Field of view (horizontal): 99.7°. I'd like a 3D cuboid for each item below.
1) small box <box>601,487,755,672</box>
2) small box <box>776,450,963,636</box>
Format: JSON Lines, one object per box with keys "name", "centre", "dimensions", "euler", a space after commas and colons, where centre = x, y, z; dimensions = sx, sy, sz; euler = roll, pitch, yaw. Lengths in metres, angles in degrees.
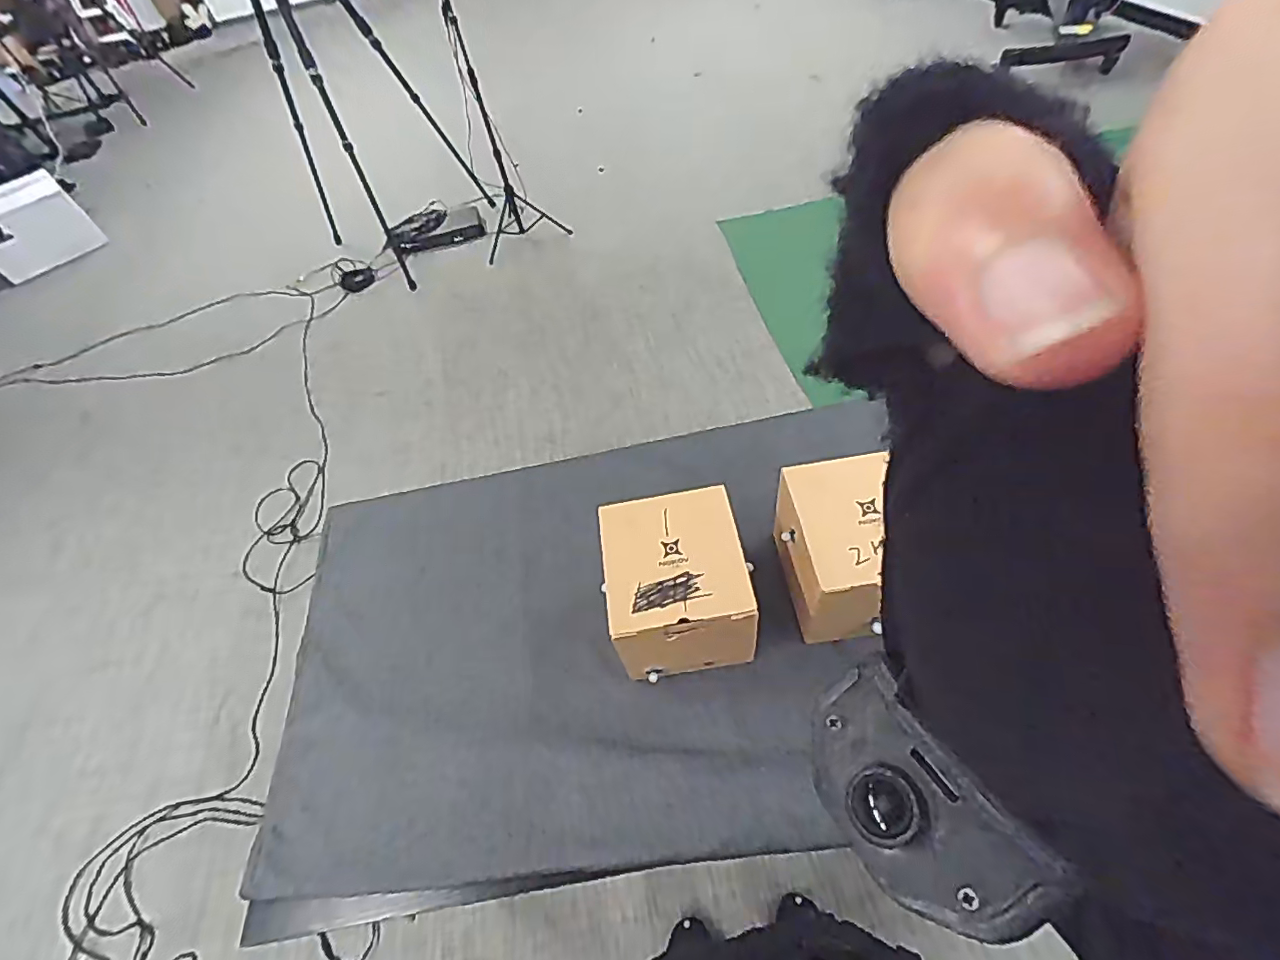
{"name": "small box", "centre": [0.050, 0.137, 0.702], "dimensions": [0.168, 0.176, 0.179], "euler": [-10, 52, 2]}
{"name": "small box", "centre": [0.276, 0.086, 0.702], "dimensions": [0.168, 0.176, 0.179], "euler": [-7, 56, 6]}
